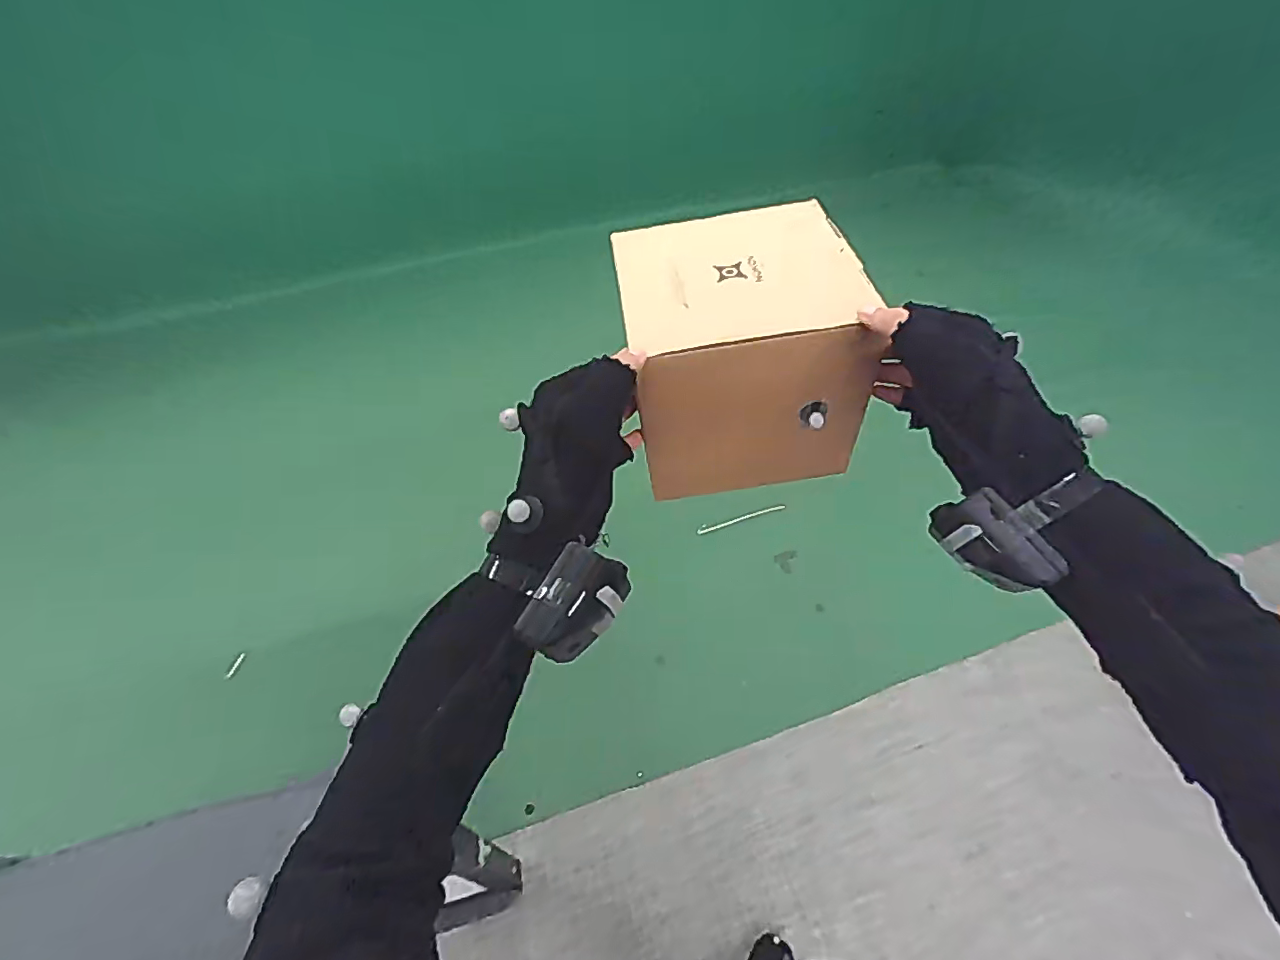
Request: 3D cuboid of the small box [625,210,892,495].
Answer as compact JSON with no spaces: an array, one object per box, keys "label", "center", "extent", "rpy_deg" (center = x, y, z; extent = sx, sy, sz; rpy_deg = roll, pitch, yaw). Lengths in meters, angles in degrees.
[{"label":"small box","center":[0.086,-0.106,0.477],"extent":[0.179,0.176,0.168],"rpy_deg":[-8,51,1]}]
